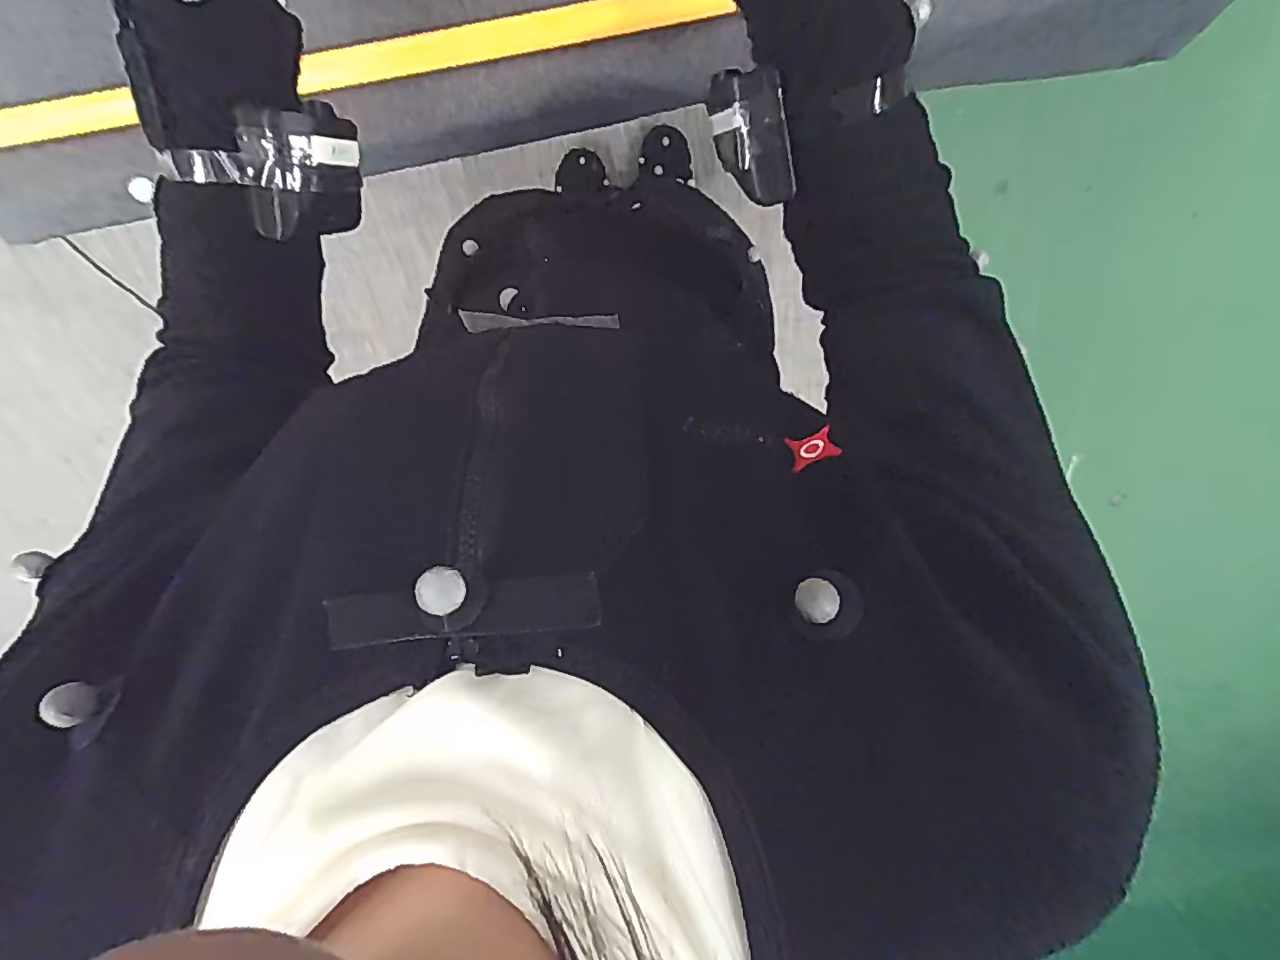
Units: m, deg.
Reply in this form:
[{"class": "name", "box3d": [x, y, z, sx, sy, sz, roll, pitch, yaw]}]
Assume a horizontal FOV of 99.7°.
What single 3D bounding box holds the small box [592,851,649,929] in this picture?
[{"class": "small box", "box3d": [-0.068, 1.488, 1.964, 0.168, 0.176, 0.179, -16, 122, 5]}]
